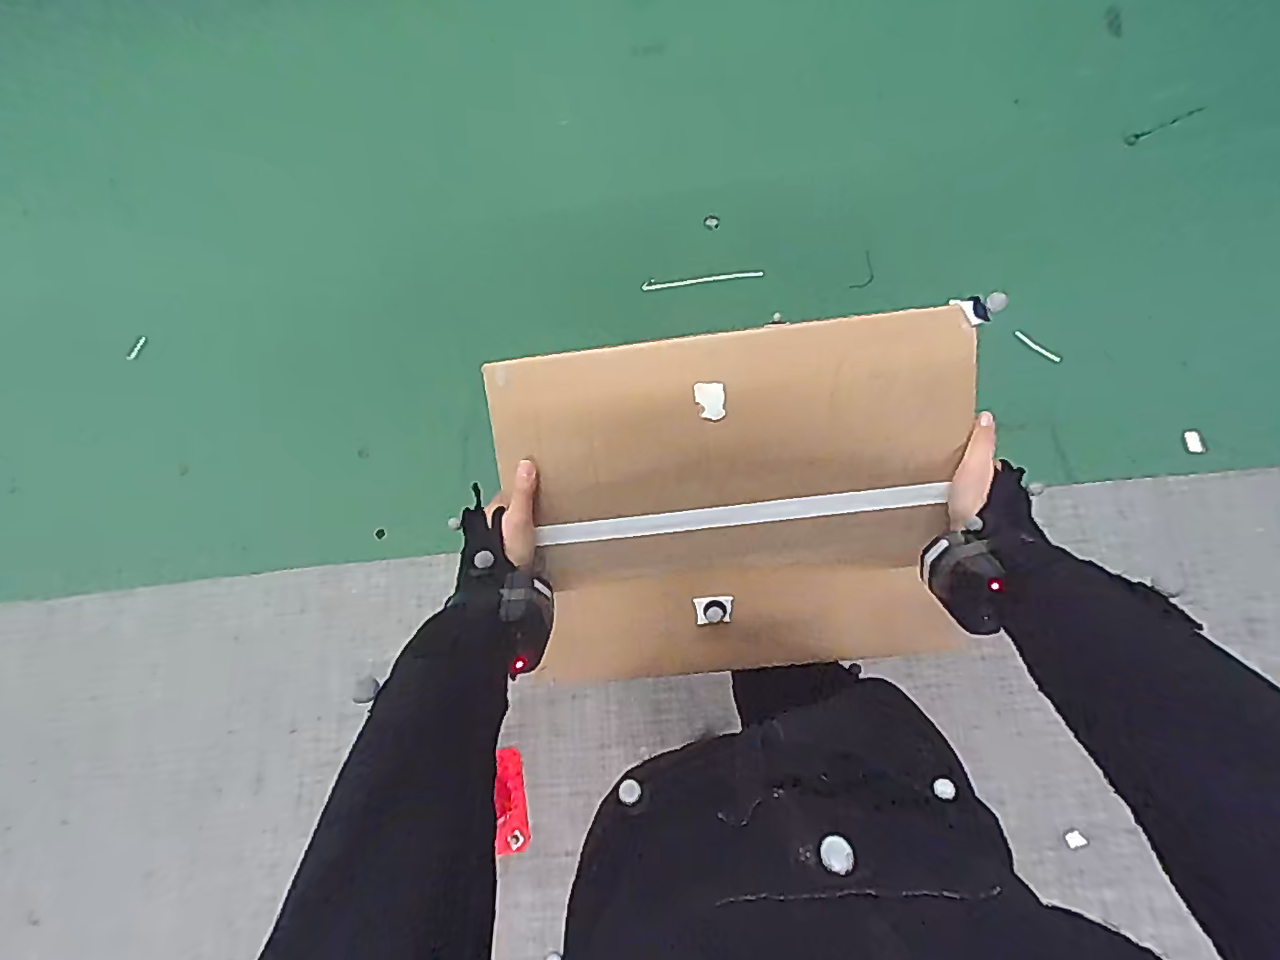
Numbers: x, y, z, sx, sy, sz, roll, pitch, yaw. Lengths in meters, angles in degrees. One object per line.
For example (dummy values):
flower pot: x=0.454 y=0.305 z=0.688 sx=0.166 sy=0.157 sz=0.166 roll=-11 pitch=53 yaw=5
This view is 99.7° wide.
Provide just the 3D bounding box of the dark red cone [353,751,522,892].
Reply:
dark red cone: x=-0.365 y=0.629 z=0.956 sx=0.202 sy=0.394 sz=0.201 roll=-14 pitch=71 yaw=3
